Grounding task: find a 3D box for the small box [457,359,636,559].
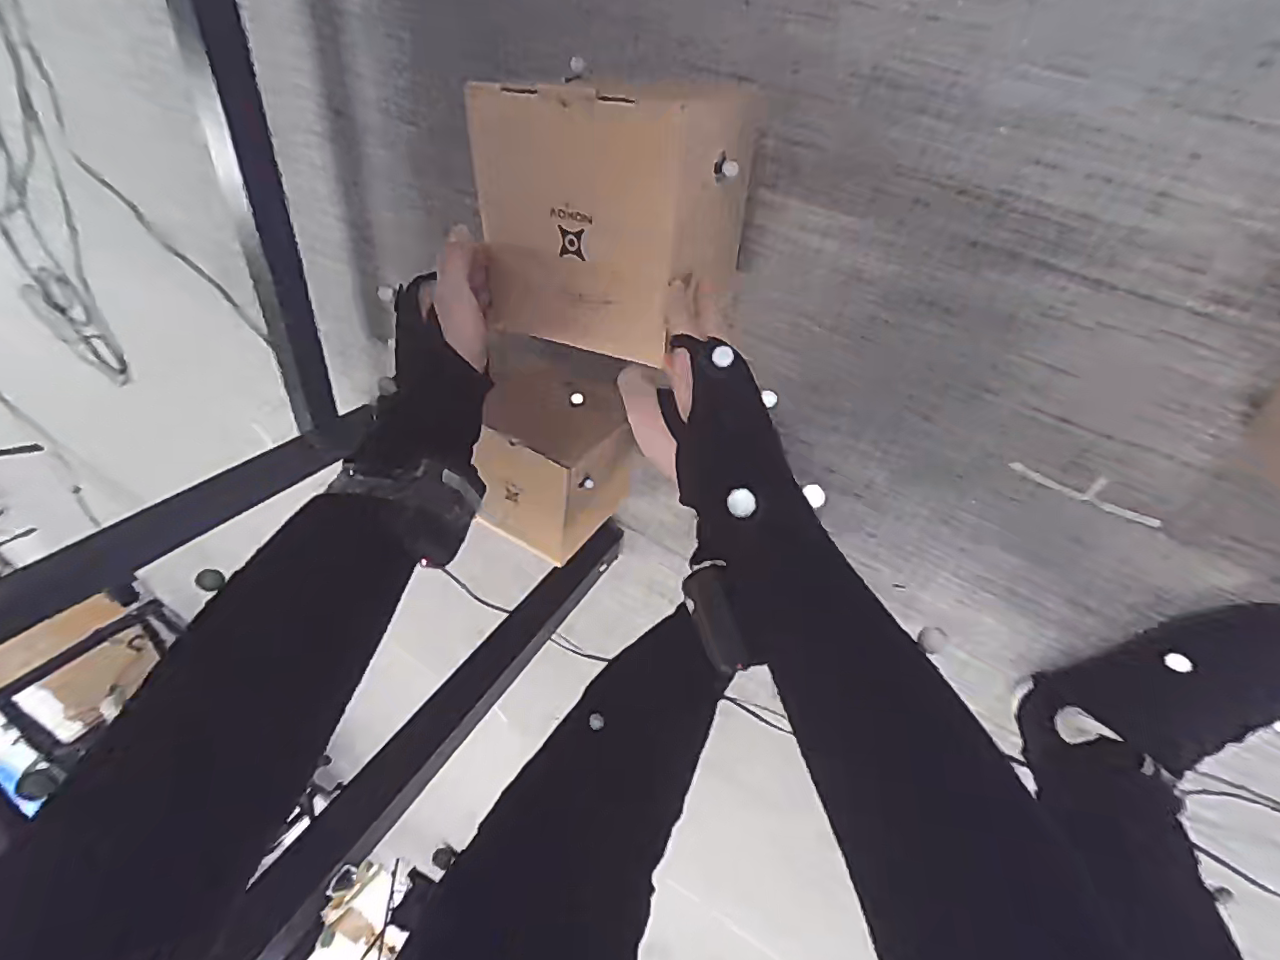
[{"bbox_3d":[-0.120,-0.035,0.728,0.168,0.176,0.179,26,132,17],"label":"small box"}]
